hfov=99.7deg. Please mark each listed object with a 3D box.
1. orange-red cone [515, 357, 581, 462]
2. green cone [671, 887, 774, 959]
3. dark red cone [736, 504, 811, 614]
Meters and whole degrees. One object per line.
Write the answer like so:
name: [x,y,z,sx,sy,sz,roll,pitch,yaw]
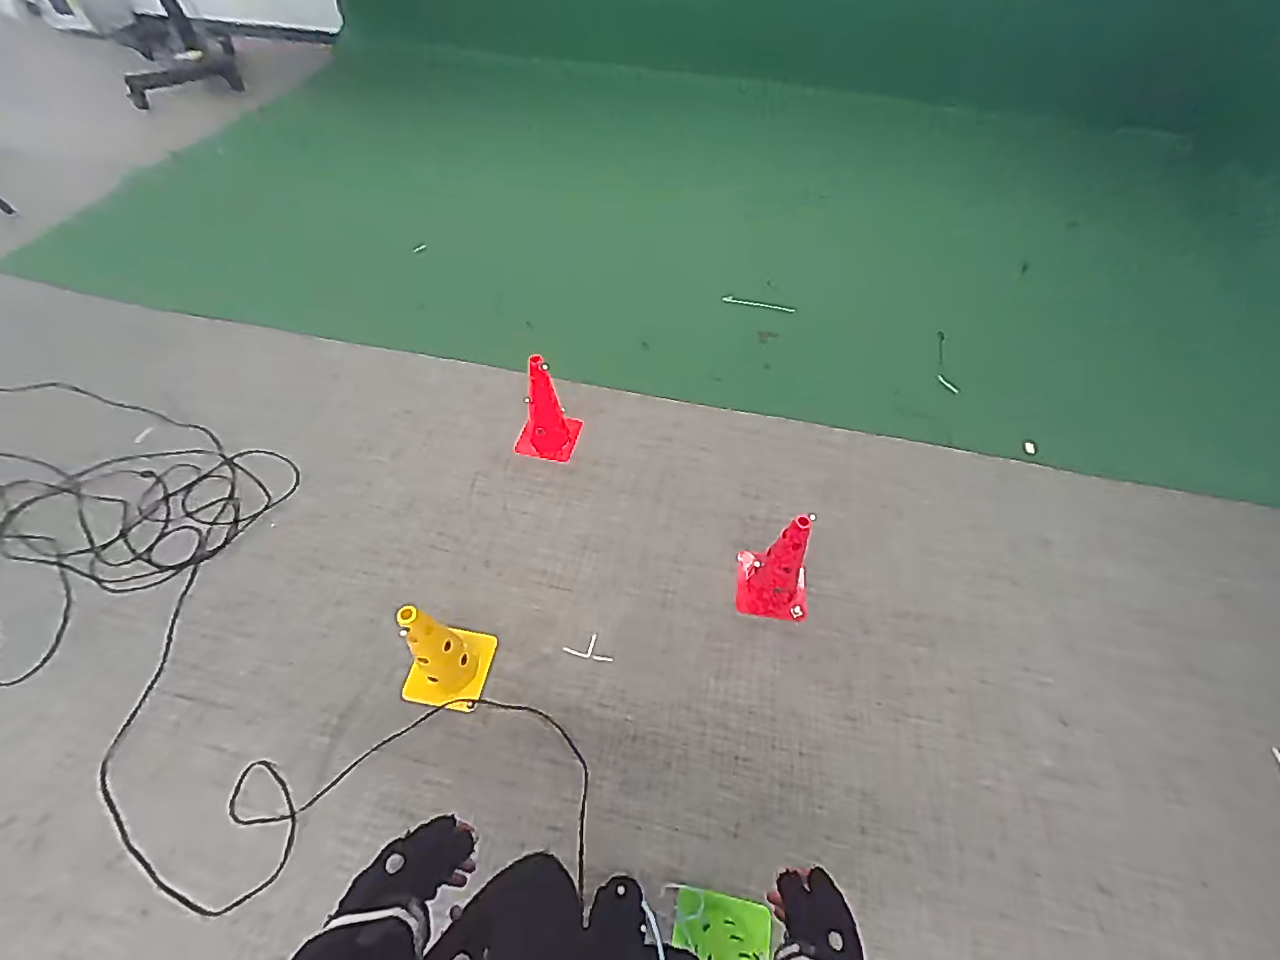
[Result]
orange-red cone: [-0.320,-0.250,1.758,0.198,0.360,0.199,11,55,8]
green cone: [0.166,0.862,0.958,0.202,0.368,0.200,9,54,7]
dark red cone: [0.382,0.189,1.425,0.202,0.394,0.201,6,53,3]
